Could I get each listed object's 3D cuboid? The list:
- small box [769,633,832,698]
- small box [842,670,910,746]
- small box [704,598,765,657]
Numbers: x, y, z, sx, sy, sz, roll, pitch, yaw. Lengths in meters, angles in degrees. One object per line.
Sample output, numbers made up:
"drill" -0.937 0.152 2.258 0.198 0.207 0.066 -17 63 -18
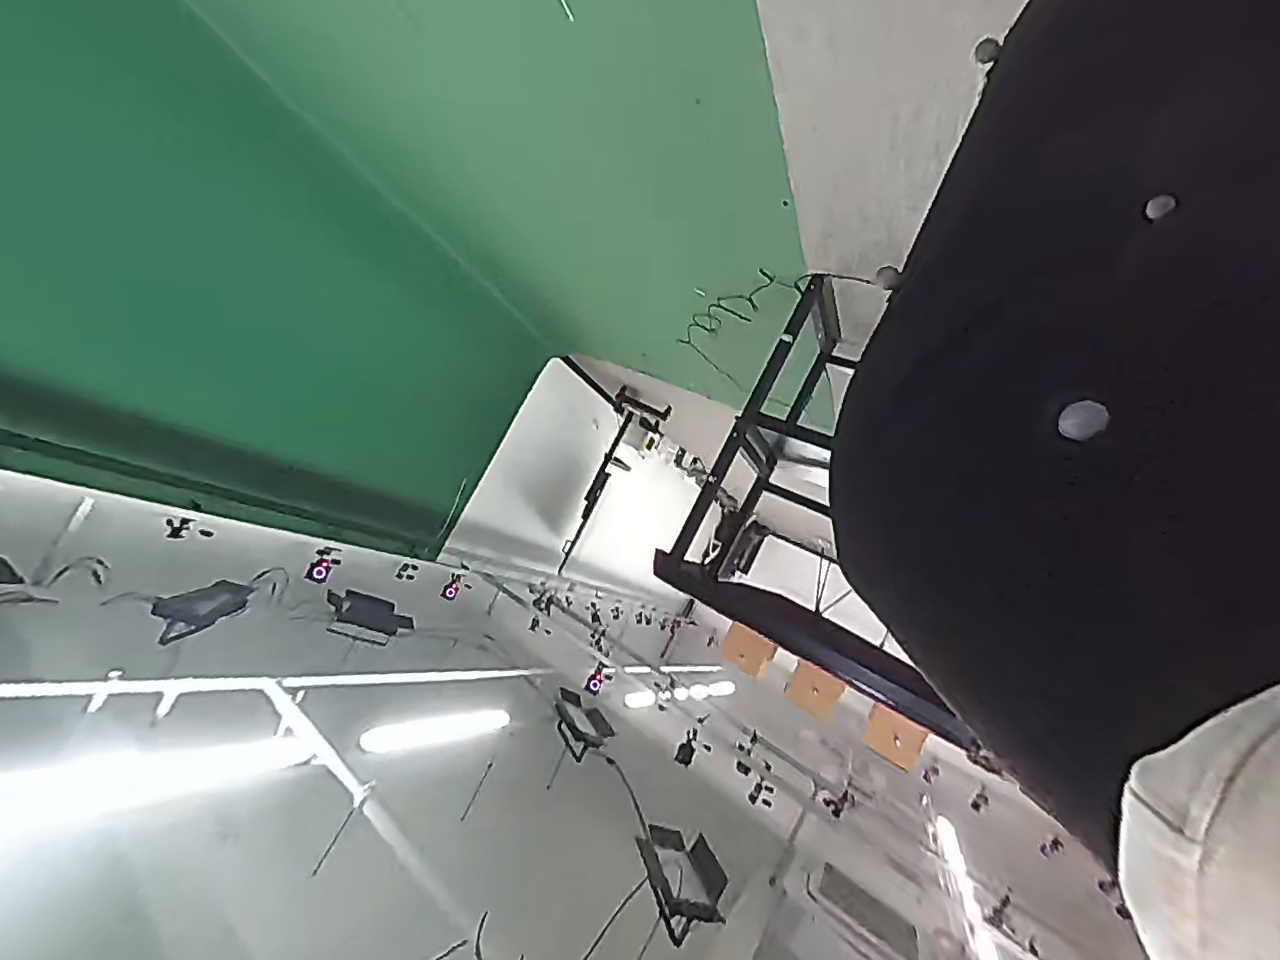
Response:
"small box" 0.612 0.695 2.050 0.179 0.176 0.168 25 177 24
"small box" 0.835 0.800 1.914 0.179 0.176 0.168 25 176 26
"small box" 0.388 0.588 2.171 0.179 0.176 0.168 25 177 27
